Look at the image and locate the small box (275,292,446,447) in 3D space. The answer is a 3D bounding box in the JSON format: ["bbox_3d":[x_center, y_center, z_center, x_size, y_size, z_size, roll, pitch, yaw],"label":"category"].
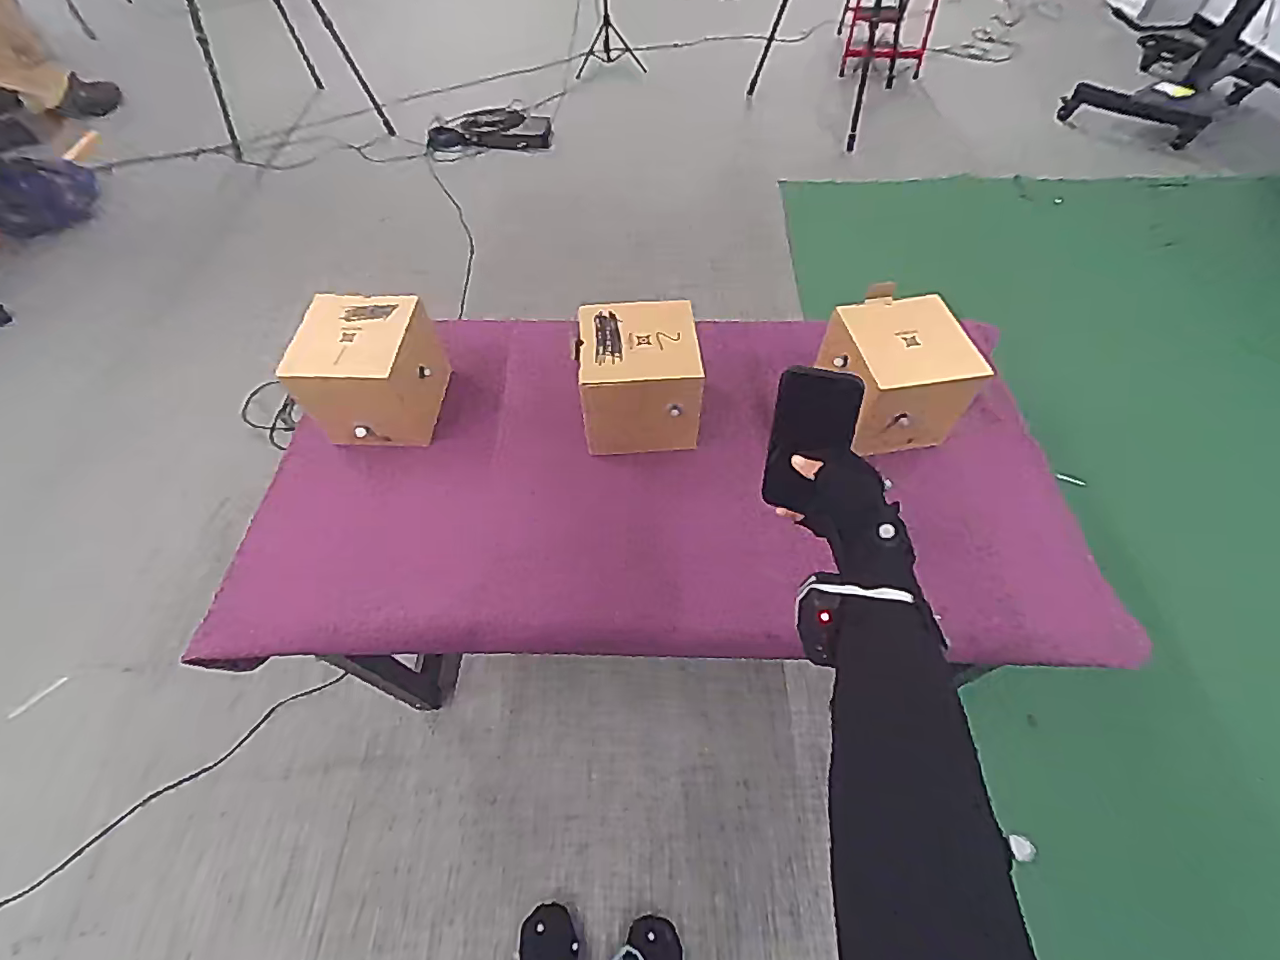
[{"bbox_3d":[-0.426,-0.174,0.864,0.168,0.176,0.179,2,58,2],"label":"small box"}]

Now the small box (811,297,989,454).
[{"bbox_3d":[0.388,-0.154,0.844,0.168,0.176,0.179,-8,56,-4],"label":"small box"}]
